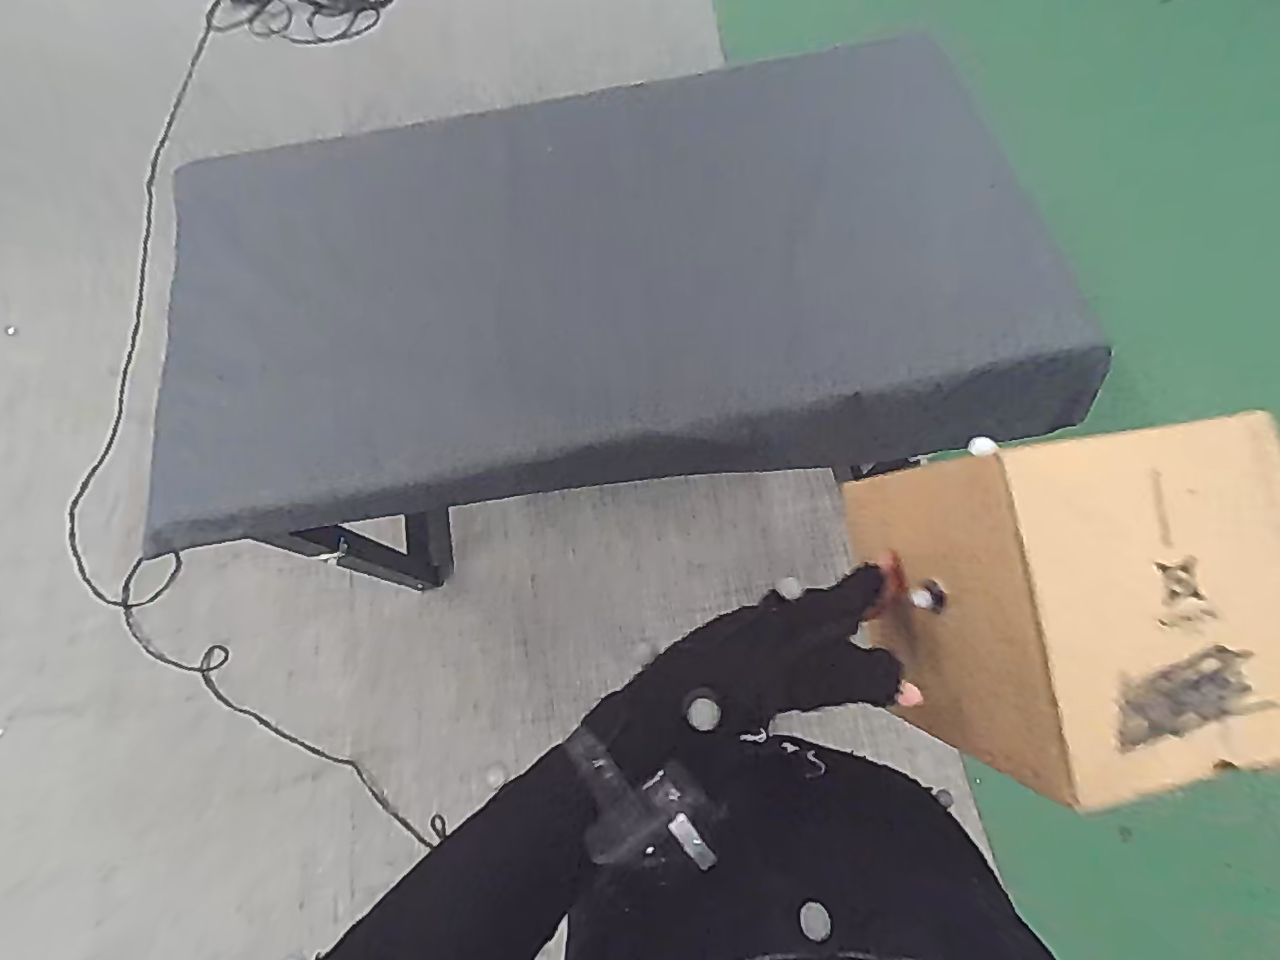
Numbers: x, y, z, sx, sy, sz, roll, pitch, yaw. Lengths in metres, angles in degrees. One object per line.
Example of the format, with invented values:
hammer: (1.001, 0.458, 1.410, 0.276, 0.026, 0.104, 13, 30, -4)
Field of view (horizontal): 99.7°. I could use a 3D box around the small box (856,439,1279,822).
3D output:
small box: (0.269, 0.081, 0.356, 0.168, 0.176, 0.179, -7, 83, -6)
